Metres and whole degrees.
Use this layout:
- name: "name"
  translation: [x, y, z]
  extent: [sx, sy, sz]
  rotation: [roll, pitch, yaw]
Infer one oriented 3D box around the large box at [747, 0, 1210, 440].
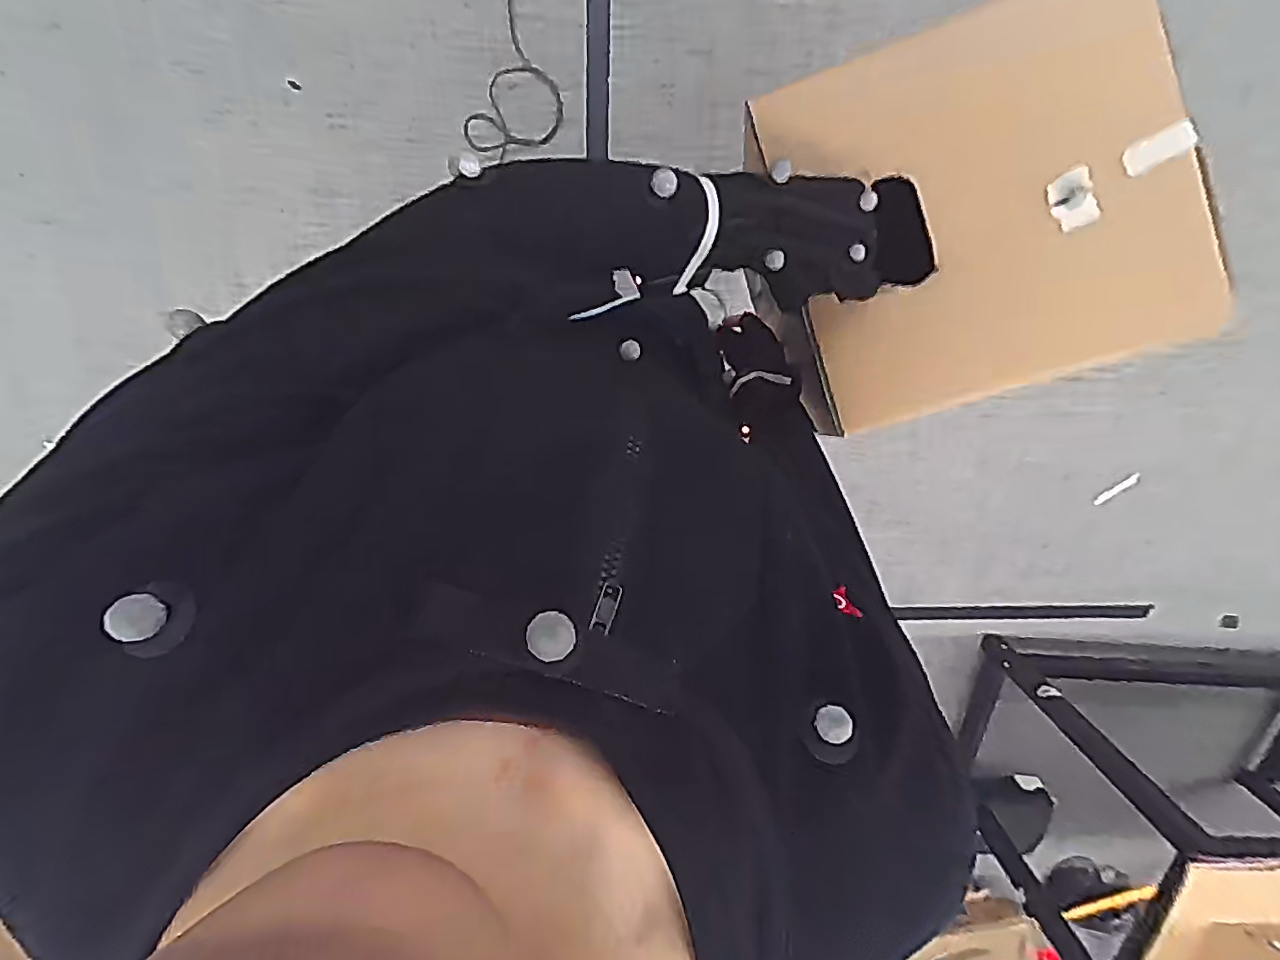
- name: "large box"
  translation: [0.322, -0.241, 0.655]
  extent: [0.320, 0.408, 0.320]
  rotation: [-15, 92, 12]
